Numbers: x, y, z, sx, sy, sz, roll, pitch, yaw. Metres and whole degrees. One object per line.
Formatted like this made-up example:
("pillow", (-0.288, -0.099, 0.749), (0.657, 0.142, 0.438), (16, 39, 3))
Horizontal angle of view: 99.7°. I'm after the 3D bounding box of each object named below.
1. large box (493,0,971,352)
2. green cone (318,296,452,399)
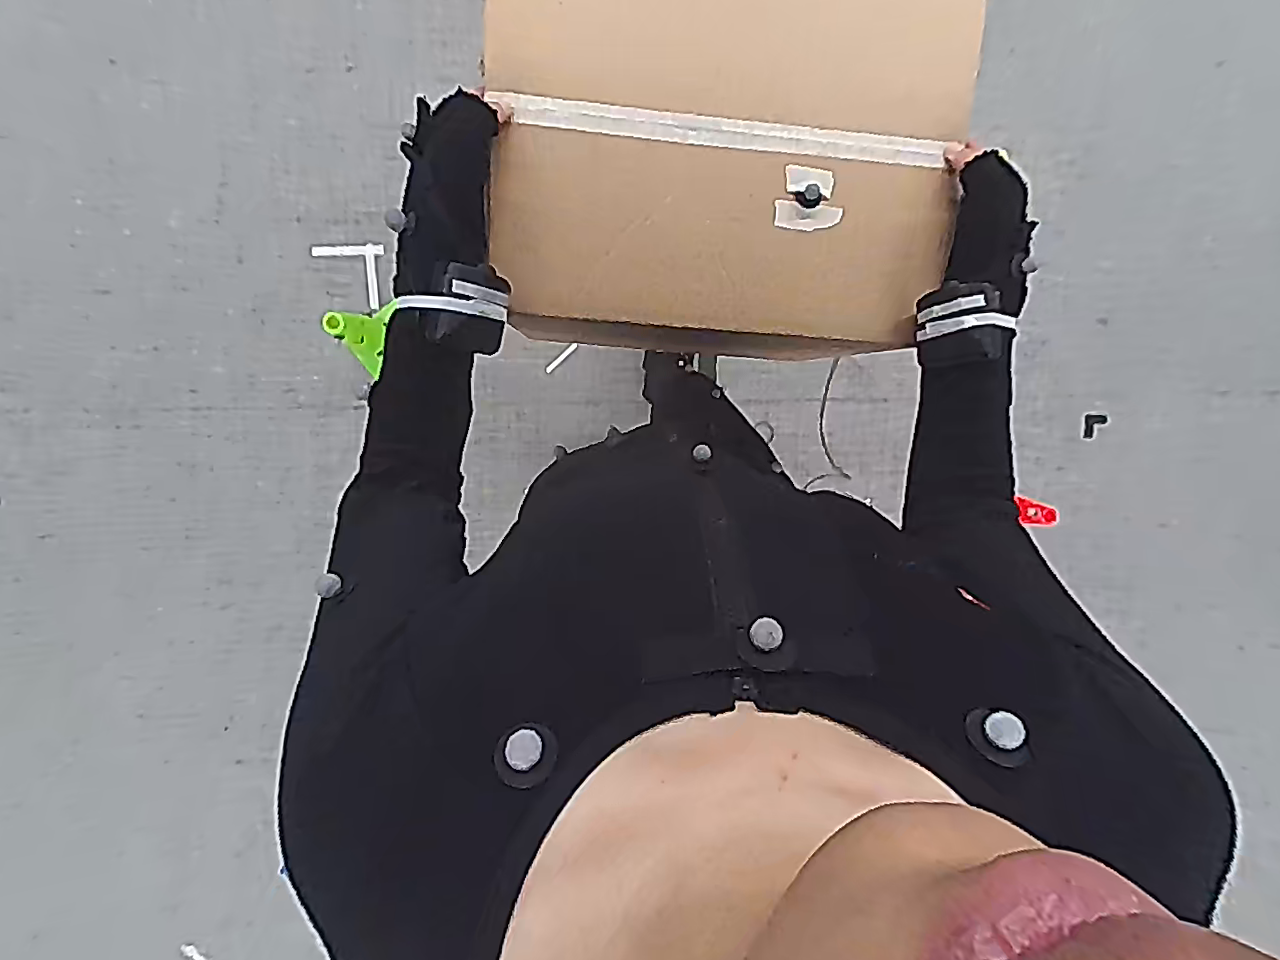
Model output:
("large box", (0.062, -0.319, 0.602), (0.408, 0.320, 0.320), (2, 100, -6))
("green cone", (-0.599, -0.316, 1.201), (0.202, 0.368, 0.200), (-38, 97, 2))
